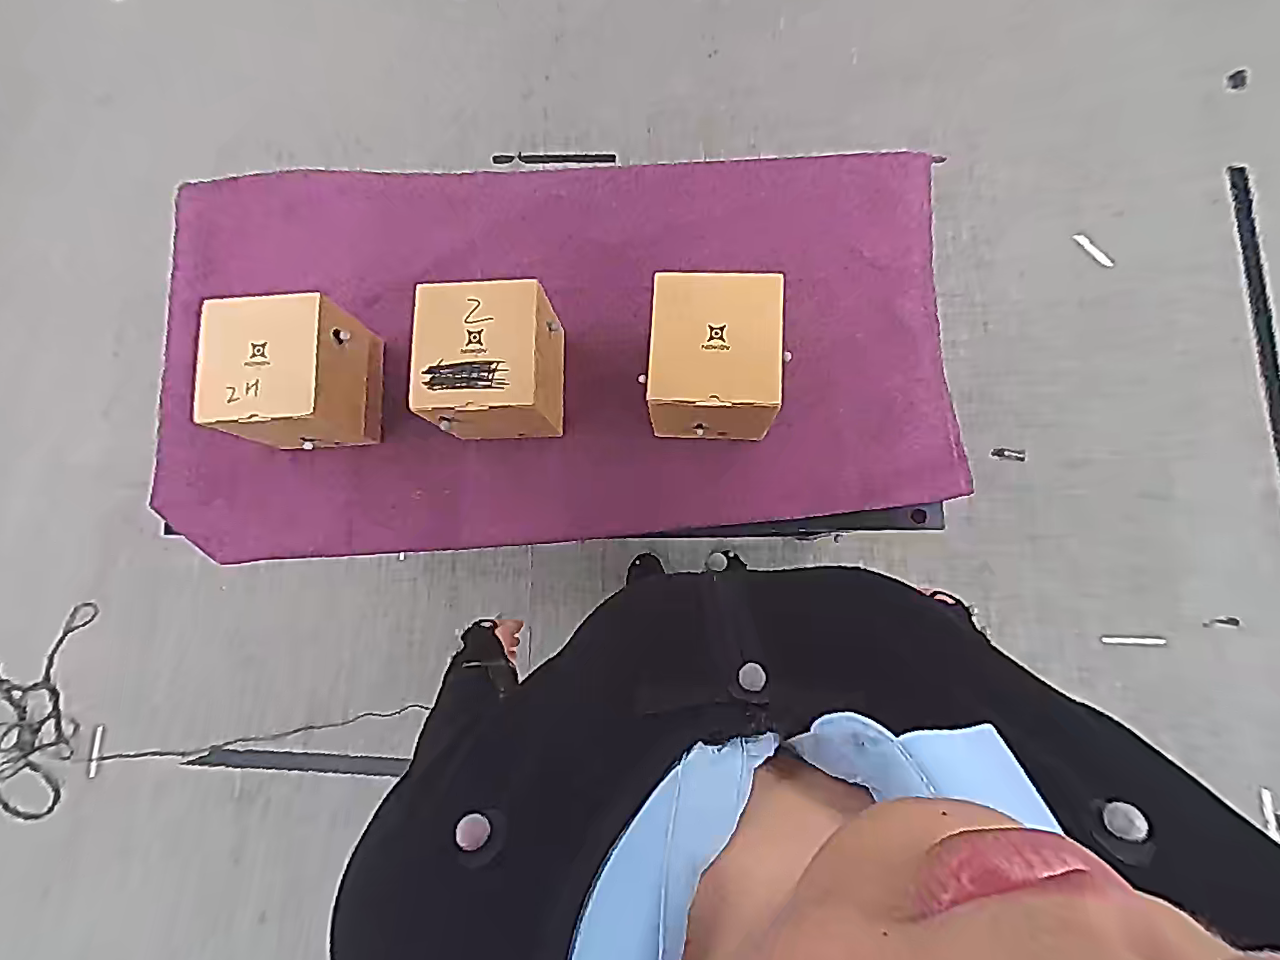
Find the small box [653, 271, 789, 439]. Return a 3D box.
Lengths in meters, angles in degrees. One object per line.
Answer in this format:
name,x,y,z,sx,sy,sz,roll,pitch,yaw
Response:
small box,0.106,-0.164,0.747,0.168,0.176,0.179,2,81,5

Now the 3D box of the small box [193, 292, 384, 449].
small box,-0.495,-0.150,0.788,0.168,0.176,0.179,-3,82,3
